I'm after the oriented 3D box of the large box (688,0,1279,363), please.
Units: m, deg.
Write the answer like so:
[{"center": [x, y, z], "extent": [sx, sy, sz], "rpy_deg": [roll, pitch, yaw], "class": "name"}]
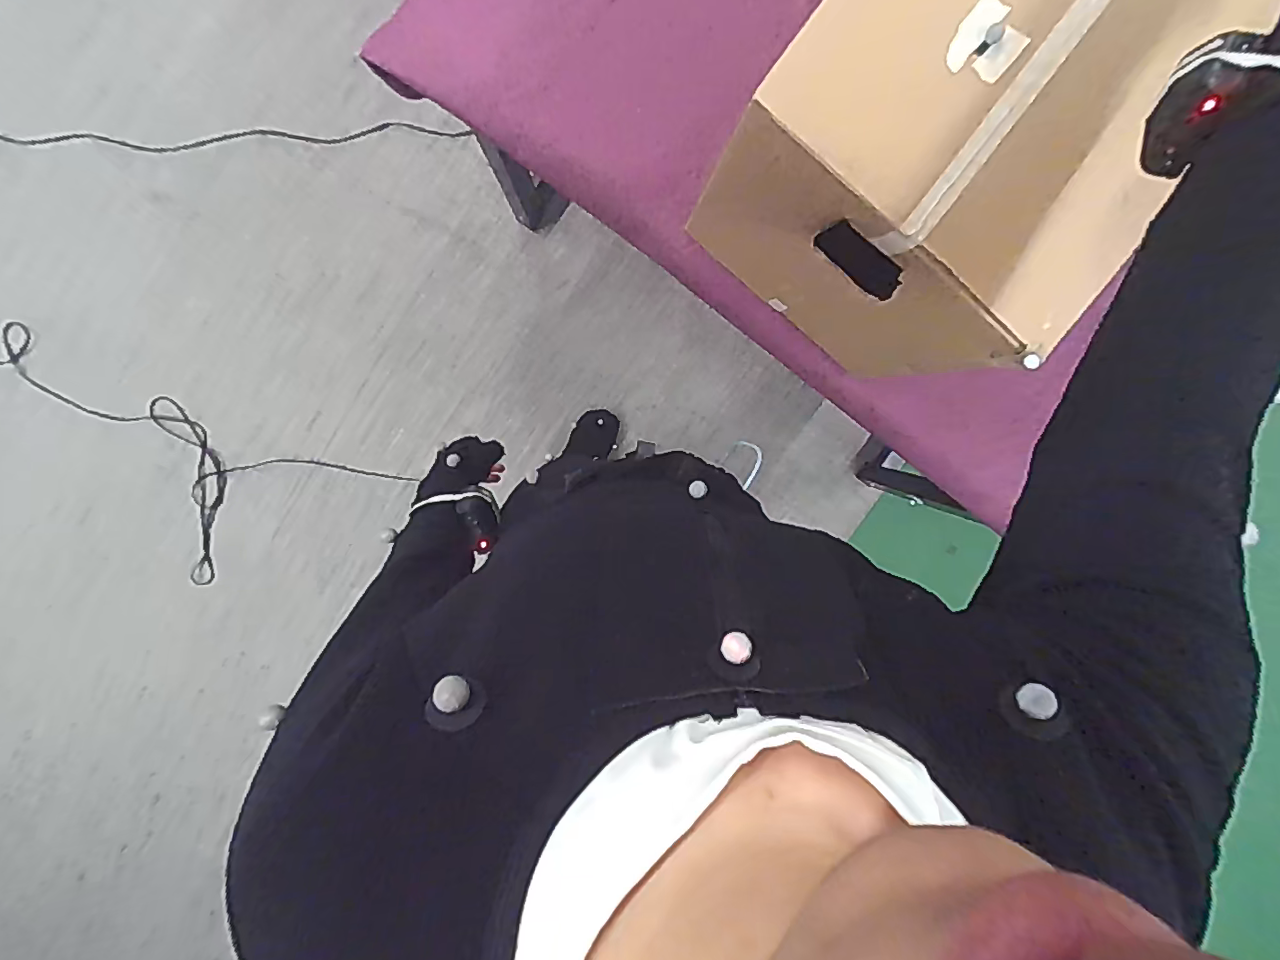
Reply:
[{"center": [0.307, -0.379, 0.565], "extent": [0.320, 0.320, 0.408], "rpy_deg": [37, 95, -9], "class": "large box"}]
